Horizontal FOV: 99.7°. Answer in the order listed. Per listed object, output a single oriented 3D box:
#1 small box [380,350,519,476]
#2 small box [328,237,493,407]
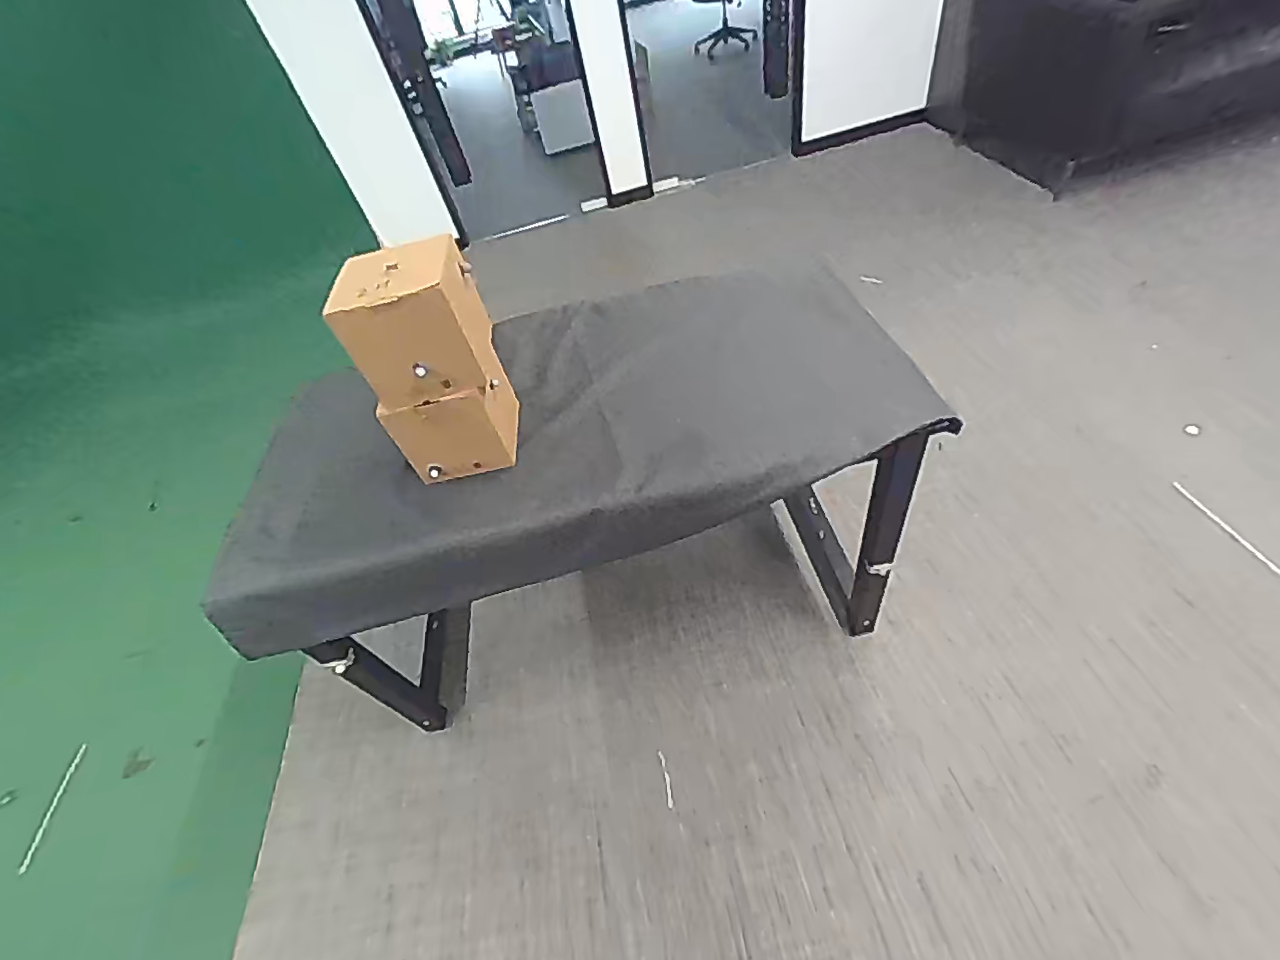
[{"bbox_3d":[-0.319,-0.123,0.947,0.168,0.176,0.179,-12,46,3],"label":"small box"},{"bbox_3d":[-0.335,-0.241,0.832,0.168,0.176,0.179,-14,47,2],"label":"small box"}]
